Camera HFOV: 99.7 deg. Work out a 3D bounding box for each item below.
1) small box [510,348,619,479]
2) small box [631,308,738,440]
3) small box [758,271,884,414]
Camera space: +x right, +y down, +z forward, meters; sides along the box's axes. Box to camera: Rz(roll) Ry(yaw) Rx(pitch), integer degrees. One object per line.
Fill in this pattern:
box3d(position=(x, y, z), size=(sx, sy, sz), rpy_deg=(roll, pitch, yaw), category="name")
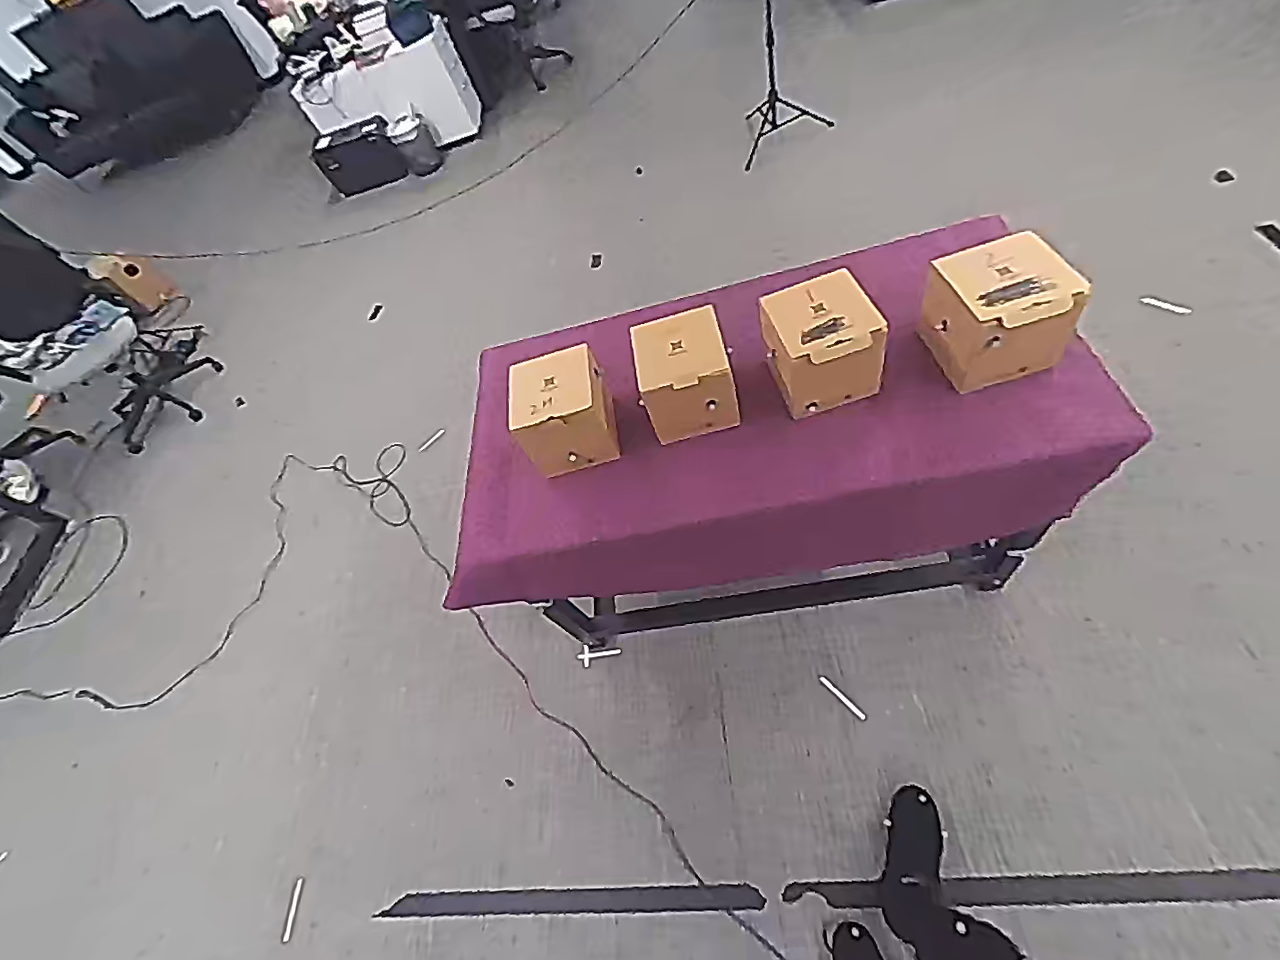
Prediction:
box3d(position=(-0.150, -0.131, 1.094), size=(0.168, 0.176, 0.179), rpy_deg=(-15, 56, 9), category="small box")
box3d(position=(0.089, -0.197, 1.060), size=(0.168, 0.176, 0.179), rpy_deg=(-14, 55, 9), category="small box")
box3d(position=(0.332, -0.246, 1.008), size=(0.168, 0.176, 0.179), rpy_deg=(-18, 55, 6), category="small box")
